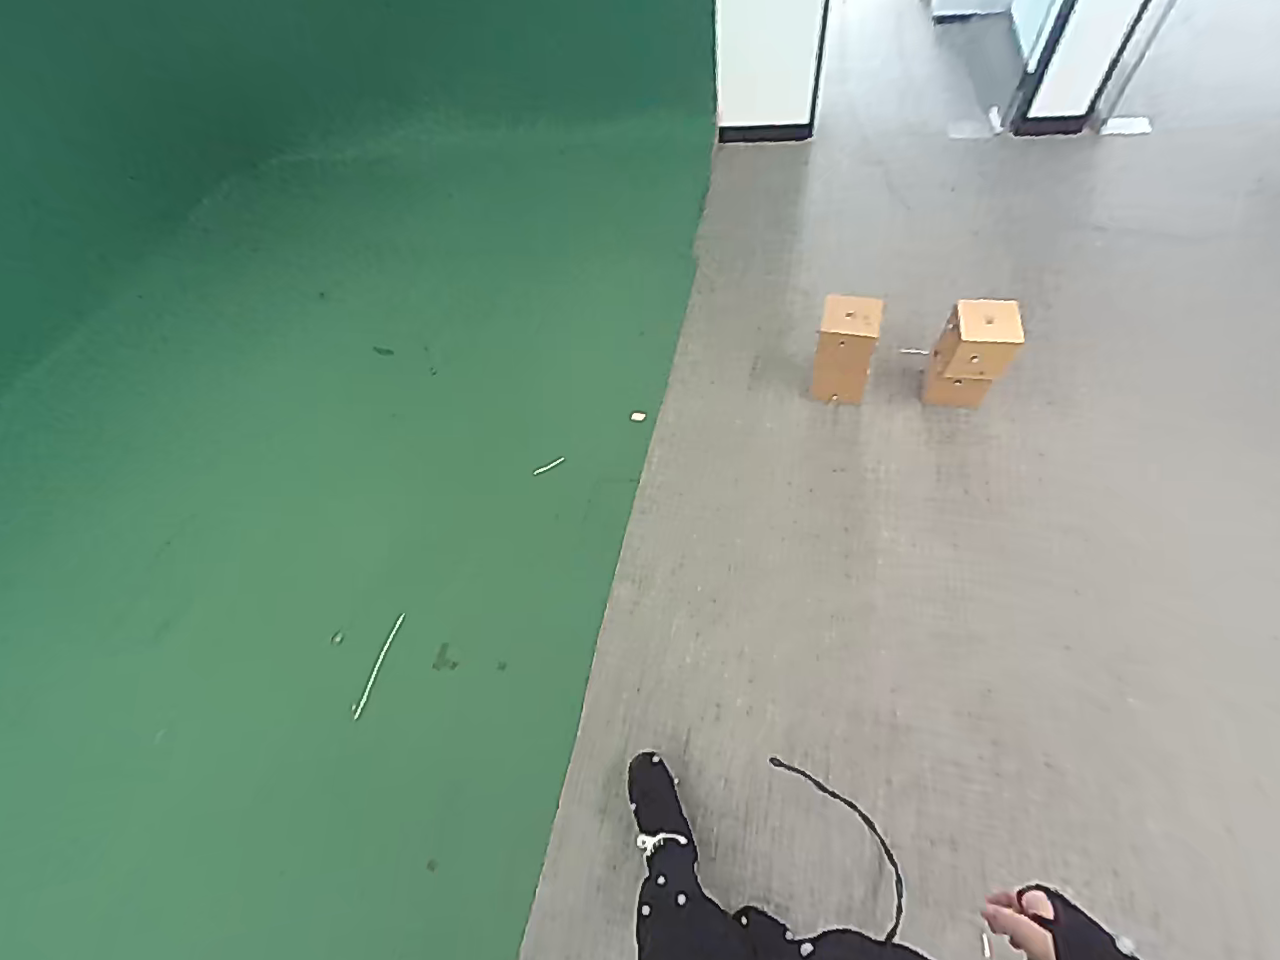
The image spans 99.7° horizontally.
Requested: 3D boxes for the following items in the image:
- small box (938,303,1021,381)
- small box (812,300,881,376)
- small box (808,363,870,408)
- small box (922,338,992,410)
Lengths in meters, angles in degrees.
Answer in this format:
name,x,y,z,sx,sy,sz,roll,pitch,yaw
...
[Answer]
name,x,y,z,sx,sy,sz,roll,pitch,yaw
small box,1.041,-0.422,1.670,0.168,0.176,0.179,5,59,12
small box,0.665,-0.456,1.751,0.179,0.176,0.168,11,62,15
small box,0.695,-0.369,1.888,0.179,0.176,0.168,10,61,15
small box,1.062,-0.353,1.816,0.179,0.176,0.168,9,61,14
